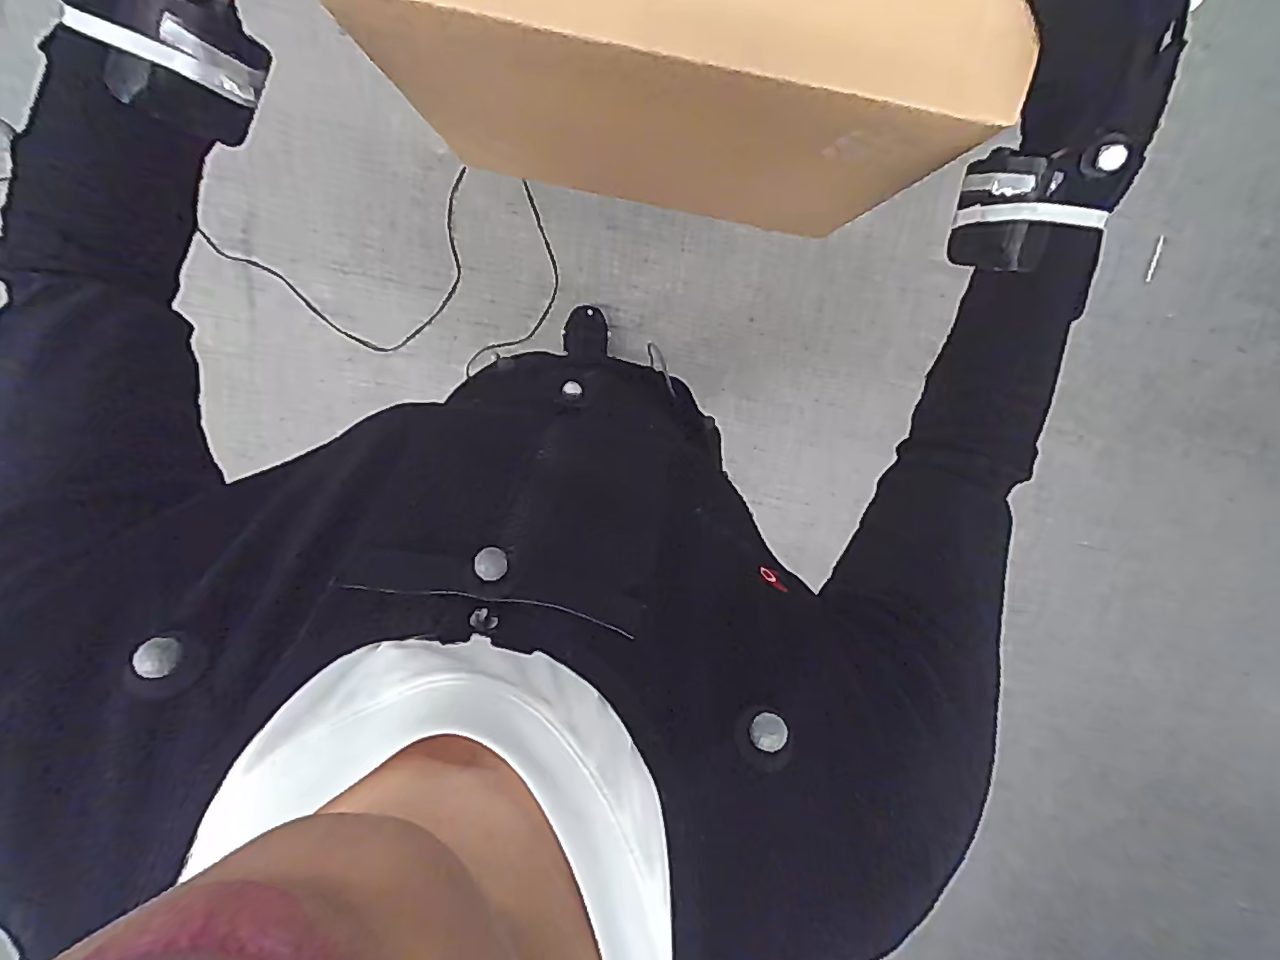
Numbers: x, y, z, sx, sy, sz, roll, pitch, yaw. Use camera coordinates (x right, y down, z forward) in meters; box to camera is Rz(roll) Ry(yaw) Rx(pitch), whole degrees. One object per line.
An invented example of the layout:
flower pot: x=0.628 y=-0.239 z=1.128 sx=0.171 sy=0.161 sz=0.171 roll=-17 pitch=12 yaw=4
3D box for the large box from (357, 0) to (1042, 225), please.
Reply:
large box: x=0.042 y=-0.425 z=0.418 sx=0.408 sy=0.320 sz=0.320 roll=9 pitch=103 yaw=-5
